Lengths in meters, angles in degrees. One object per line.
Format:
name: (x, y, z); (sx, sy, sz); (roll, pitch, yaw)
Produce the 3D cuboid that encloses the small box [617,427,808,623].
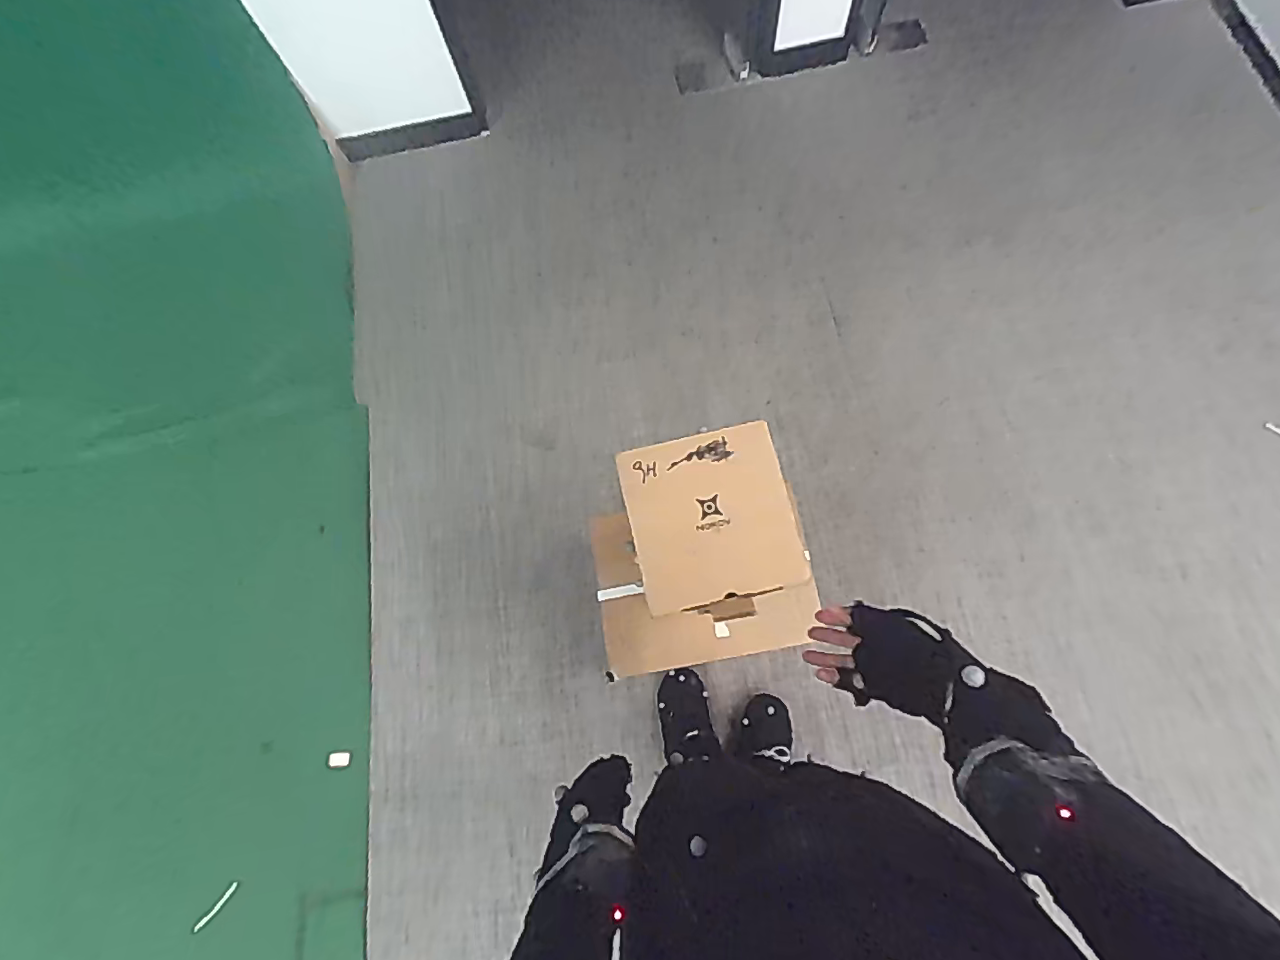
small box: (0.076, 0.058, 0.636); (0.168, 0.176, 0.179); (-14, 79, -1)
